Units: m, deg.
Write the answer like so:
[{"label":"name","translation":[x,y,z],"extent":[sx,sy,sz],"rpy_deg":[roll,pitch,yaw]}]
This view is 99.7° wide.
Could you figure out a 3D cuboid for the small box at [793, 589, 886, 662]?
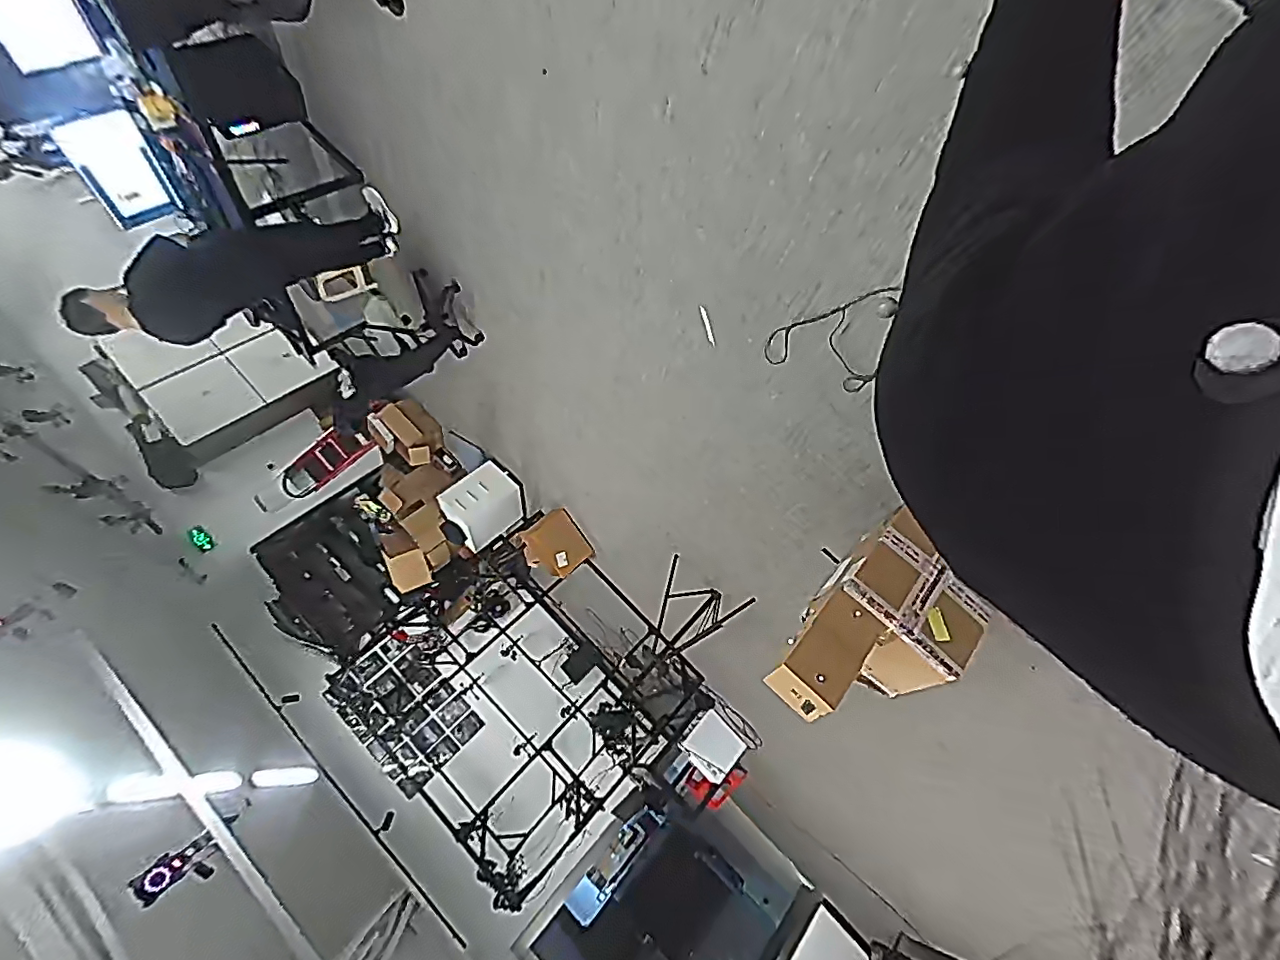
[{"label":"small box","translation":[0.612,0.459,1.661],"extent":[0.179,0.176,0.168],"rpy_deg":[41,148,17]}]

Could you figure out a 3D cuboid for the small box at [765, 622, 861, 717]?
[{"label":"small box","translation":[0.504,0.547,1.571],"extent":[0.179,0.176,0.168],"rpy_deg":[41,148,17]}]
